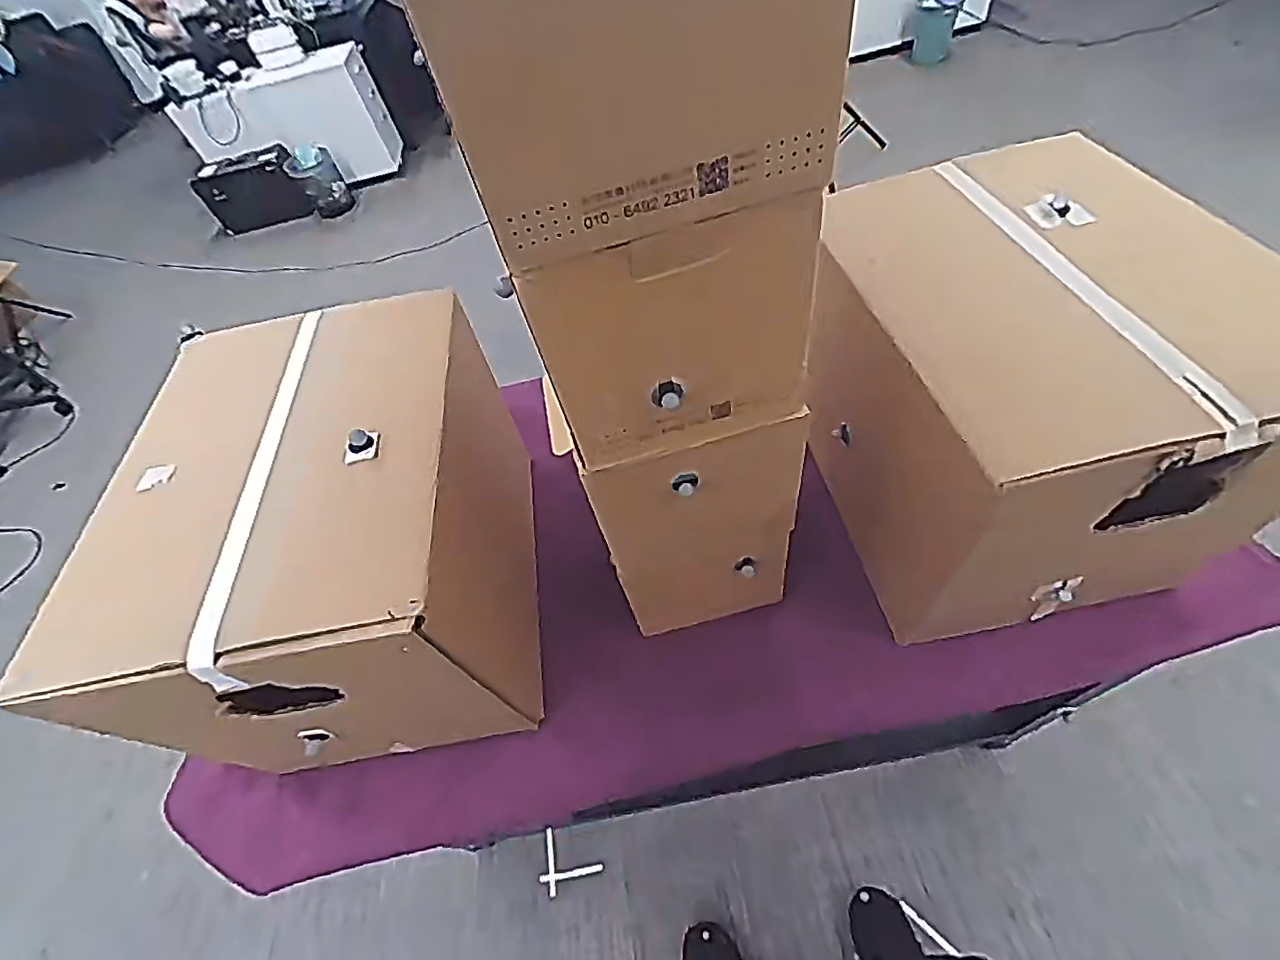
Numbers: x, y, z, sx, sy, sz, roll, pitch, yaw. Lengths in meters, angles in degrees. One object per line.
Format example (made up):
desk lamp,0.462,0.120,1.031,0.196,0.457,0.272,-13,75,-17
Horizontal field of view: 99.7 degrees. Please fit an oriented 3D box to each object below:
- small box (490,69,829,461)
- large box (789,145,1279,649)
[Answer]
small box,0.007,-0.143,0.375,0.168,0.176,0.179,-16,53,-1
large box,0.376,-0.088,0.586,0.320,0.320,0.408,-13,51,2
